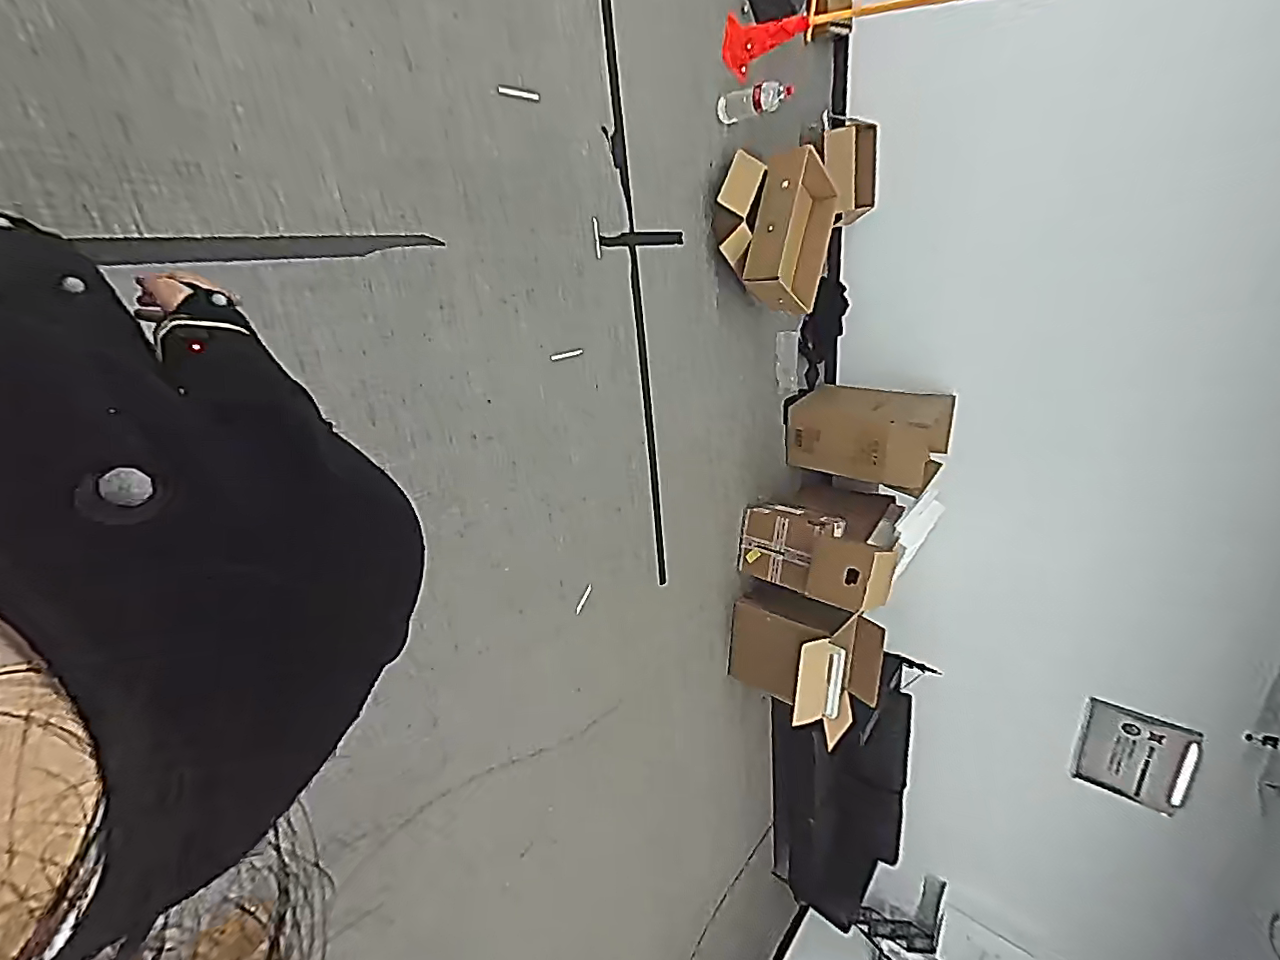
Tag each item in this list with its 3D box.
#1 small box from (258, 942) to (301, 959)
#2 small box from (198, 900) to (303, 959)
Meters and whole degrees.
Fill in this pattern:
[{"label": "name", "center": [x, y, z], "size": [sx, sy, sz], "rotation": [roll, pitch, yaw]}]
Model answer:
[{"label": "small box", "center": [-0.903, 1.295, 1.324], "size": [0.168, 0.176, 0.179], "rotation": [-30, 122, -41]}, {"label": "small box", "center": [-1.023, 1.267, 1.428], "size": [0.168, 0.176, 0.179], "rotation": [-30, 122, -42]}]
